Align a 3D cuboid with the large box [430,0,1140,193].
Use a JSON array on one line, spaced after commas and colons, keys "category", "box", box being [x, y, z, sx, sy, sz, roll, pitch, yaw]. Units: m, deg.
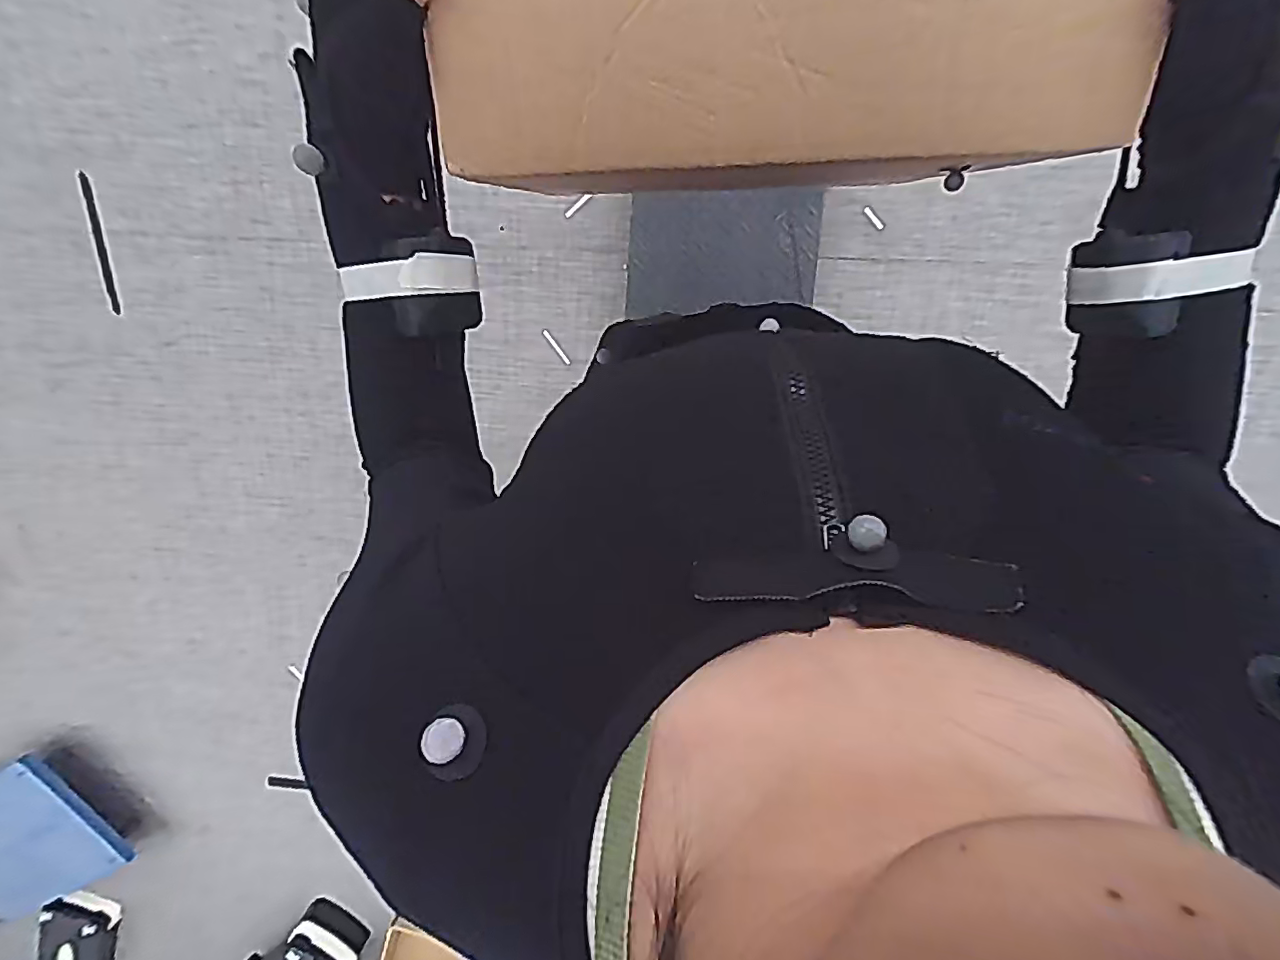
[{"category": "large box", "box": [0.081, -0.400, 0.403, 0.408, 0.320, 0.320, -1, 115, 2]}]
